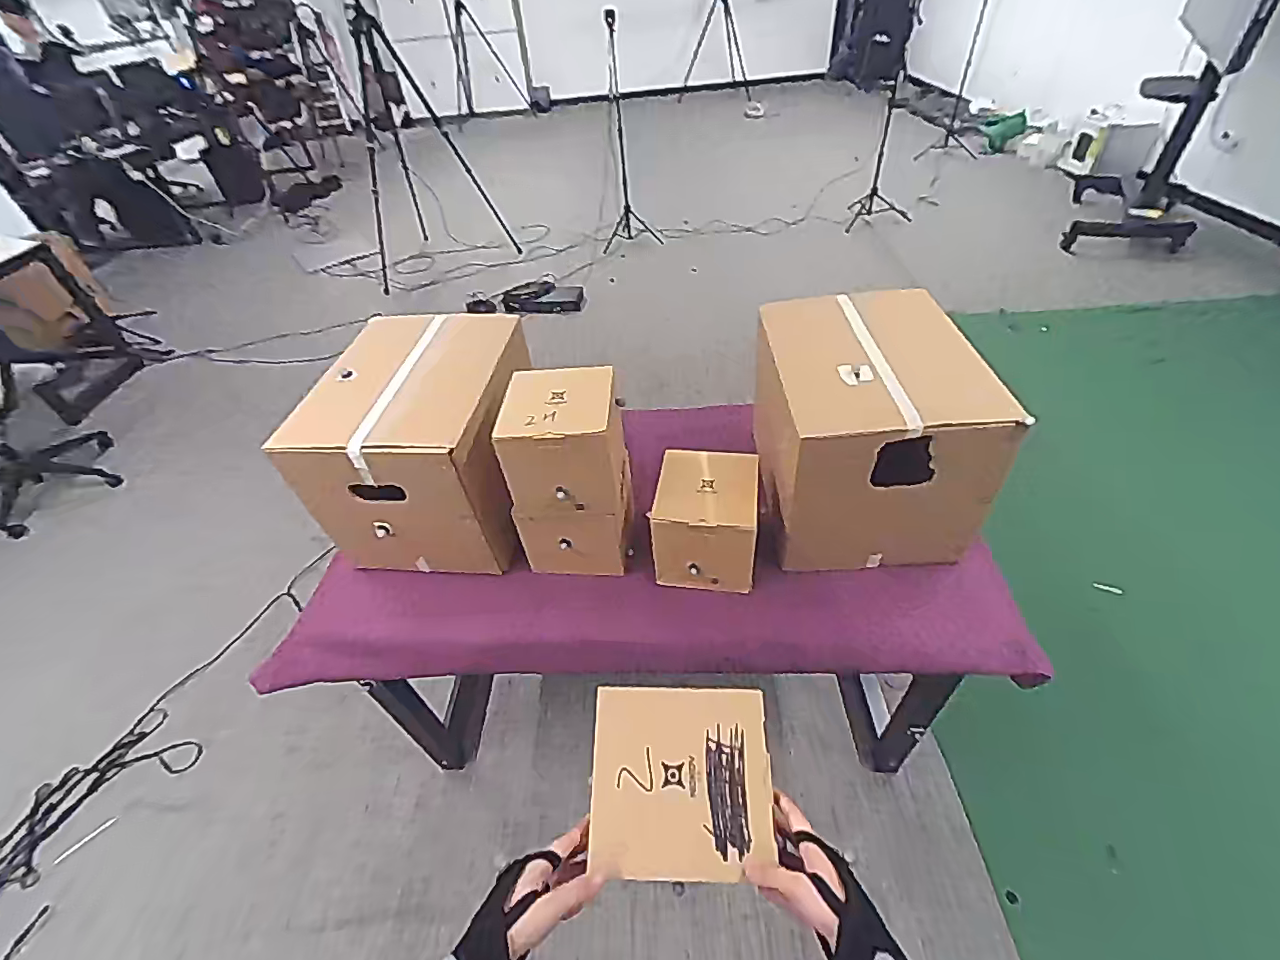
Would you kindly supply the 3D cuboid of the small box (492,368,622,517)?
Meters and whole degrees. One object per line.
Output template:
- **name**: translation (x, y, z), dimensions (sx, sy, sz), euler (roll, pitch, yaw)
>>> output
- **small box**: translation (-0.121, -0.060, 0.872), dimensions (0.168, 0.176, 0.179), euler (-3, 43, 5)

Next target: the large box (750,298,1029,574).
- **large box**: translation (0.389, -0.087, 0.984), dimensions (0.320, 0.320, 0.408), euler (-5, 44, 5)
